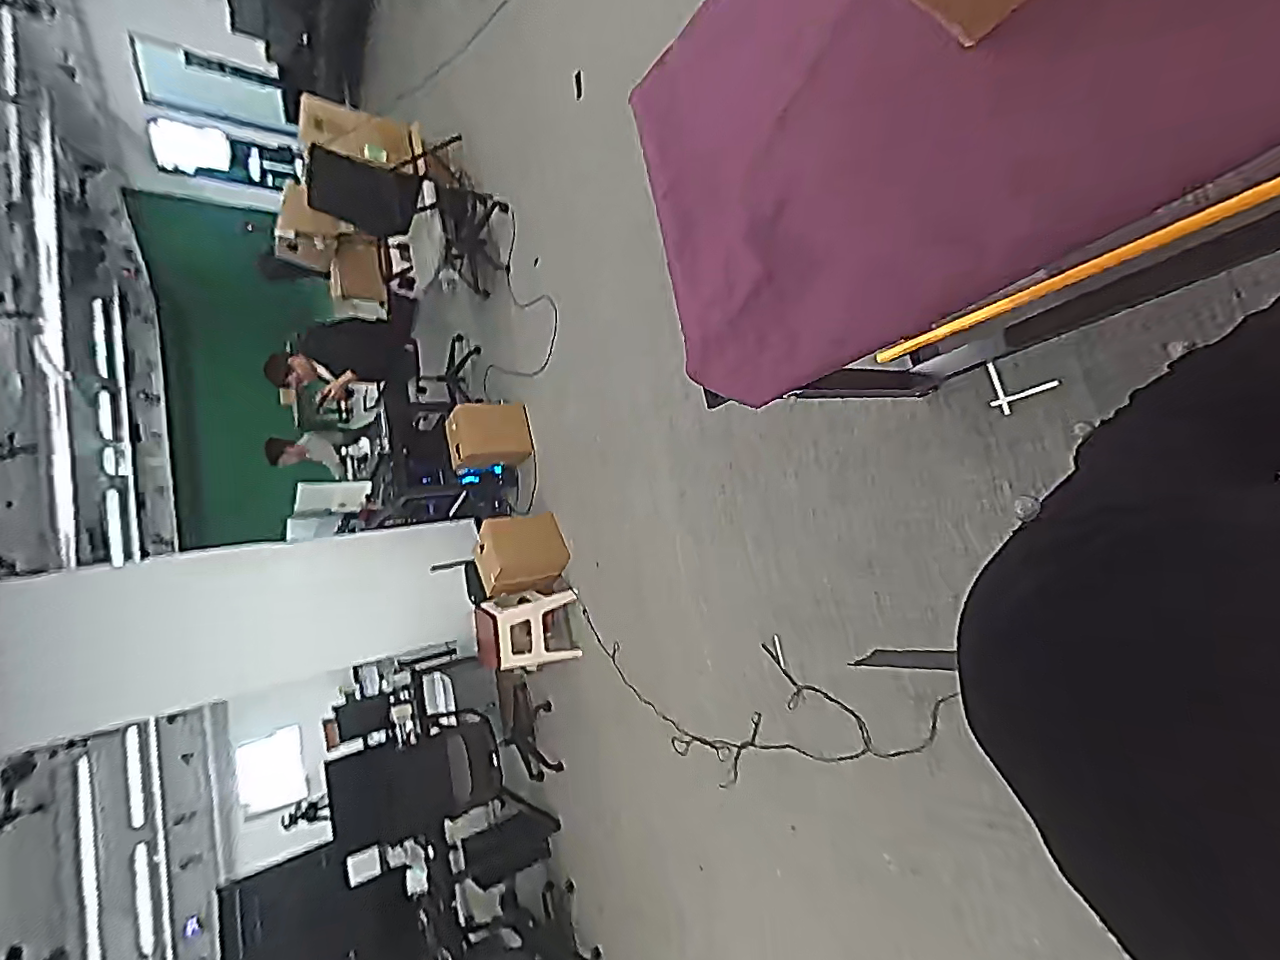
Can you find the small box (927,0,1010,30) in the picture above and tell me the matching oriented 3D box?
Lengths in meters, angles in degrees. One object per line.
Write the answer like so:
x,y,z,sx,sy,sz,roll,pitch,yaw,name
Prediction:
0.320,-0.570,0.487,0.179,0.176,0.168,-25,76,53,small box
